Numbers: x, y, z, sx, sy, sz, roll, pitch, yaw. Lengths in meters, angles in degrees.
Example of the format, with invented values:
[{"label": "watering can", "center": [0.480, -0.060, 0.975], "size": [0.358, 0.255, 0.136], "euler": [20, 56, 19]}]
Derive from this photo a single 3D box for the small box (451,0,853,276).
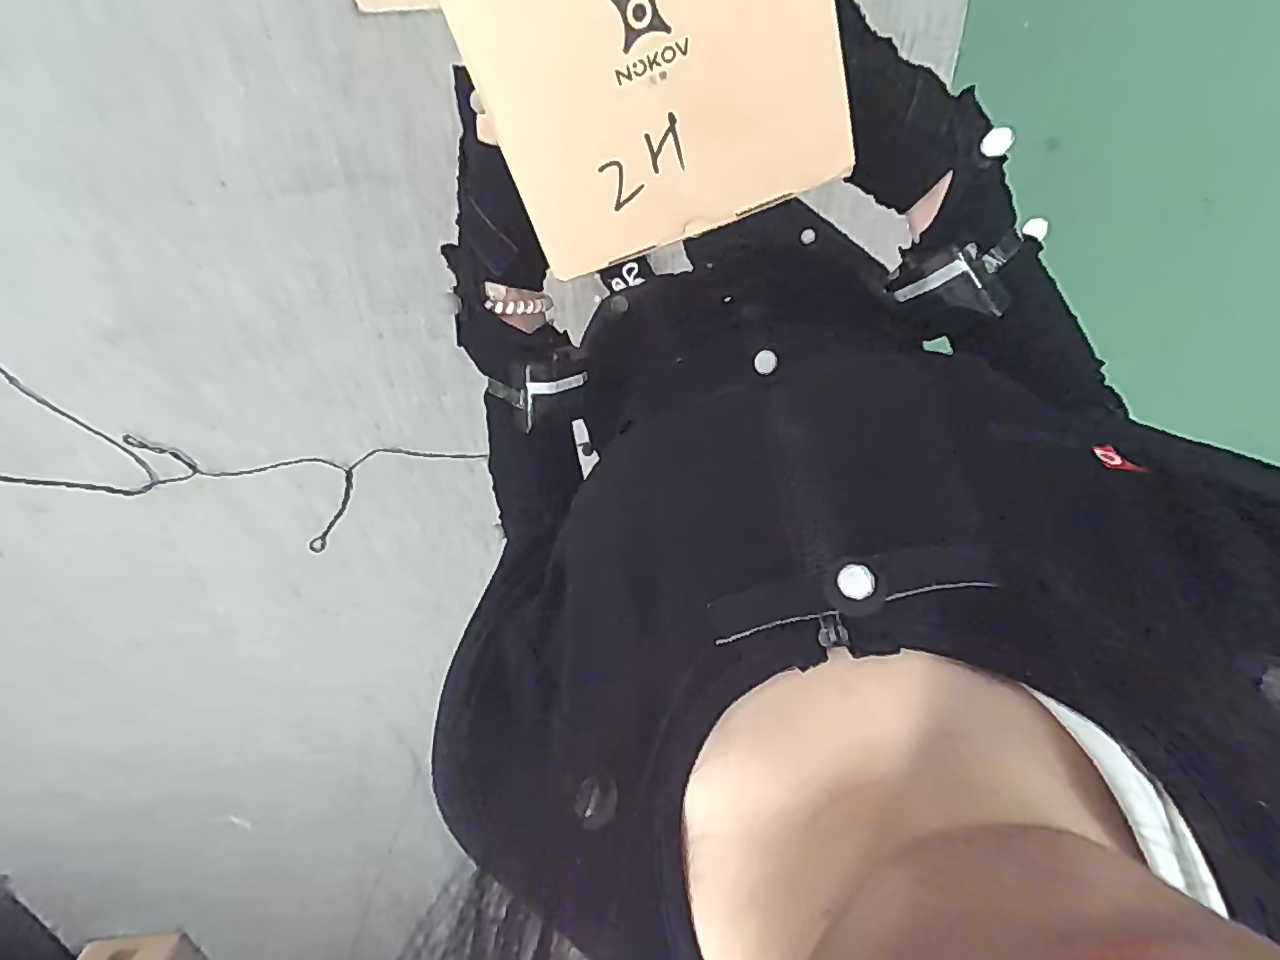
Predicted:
[{"label": "small box", "center": [0.008, -0.246, 0.317], "size": [0.168, 0.176, 0.179], "euler": [-15, 120, 13]}]
